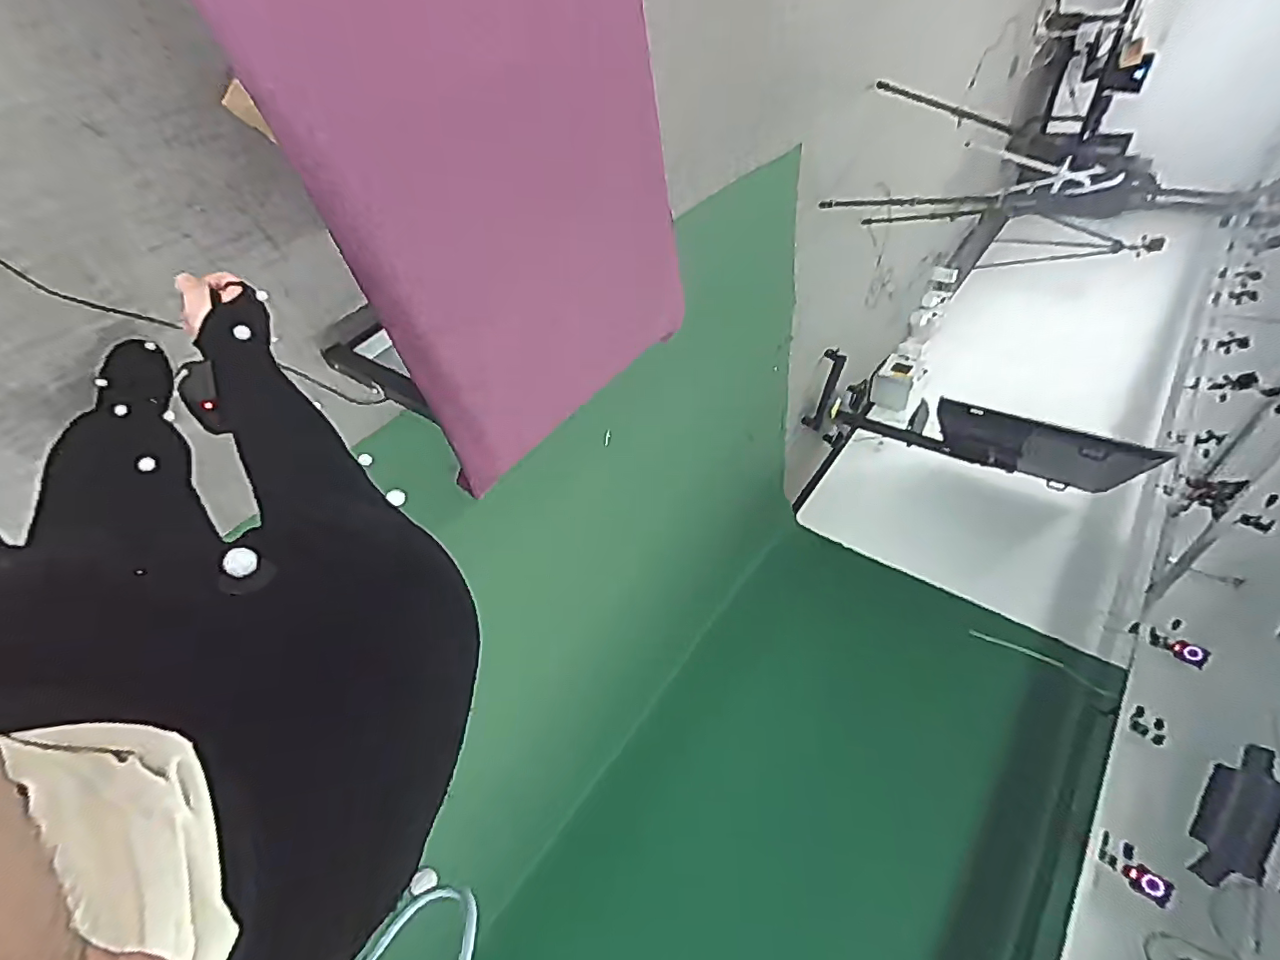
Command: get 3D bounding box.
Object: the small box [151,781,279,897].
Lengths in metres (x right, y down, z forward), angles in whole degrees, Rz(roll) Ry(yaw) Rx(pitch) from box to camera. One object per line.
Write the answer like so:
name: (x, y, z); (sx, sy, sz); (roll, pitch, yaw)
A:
small box: (-1.079, 0.905, 1.373); (0.168, 0.176, 0.179); (-45, 143, -26)
